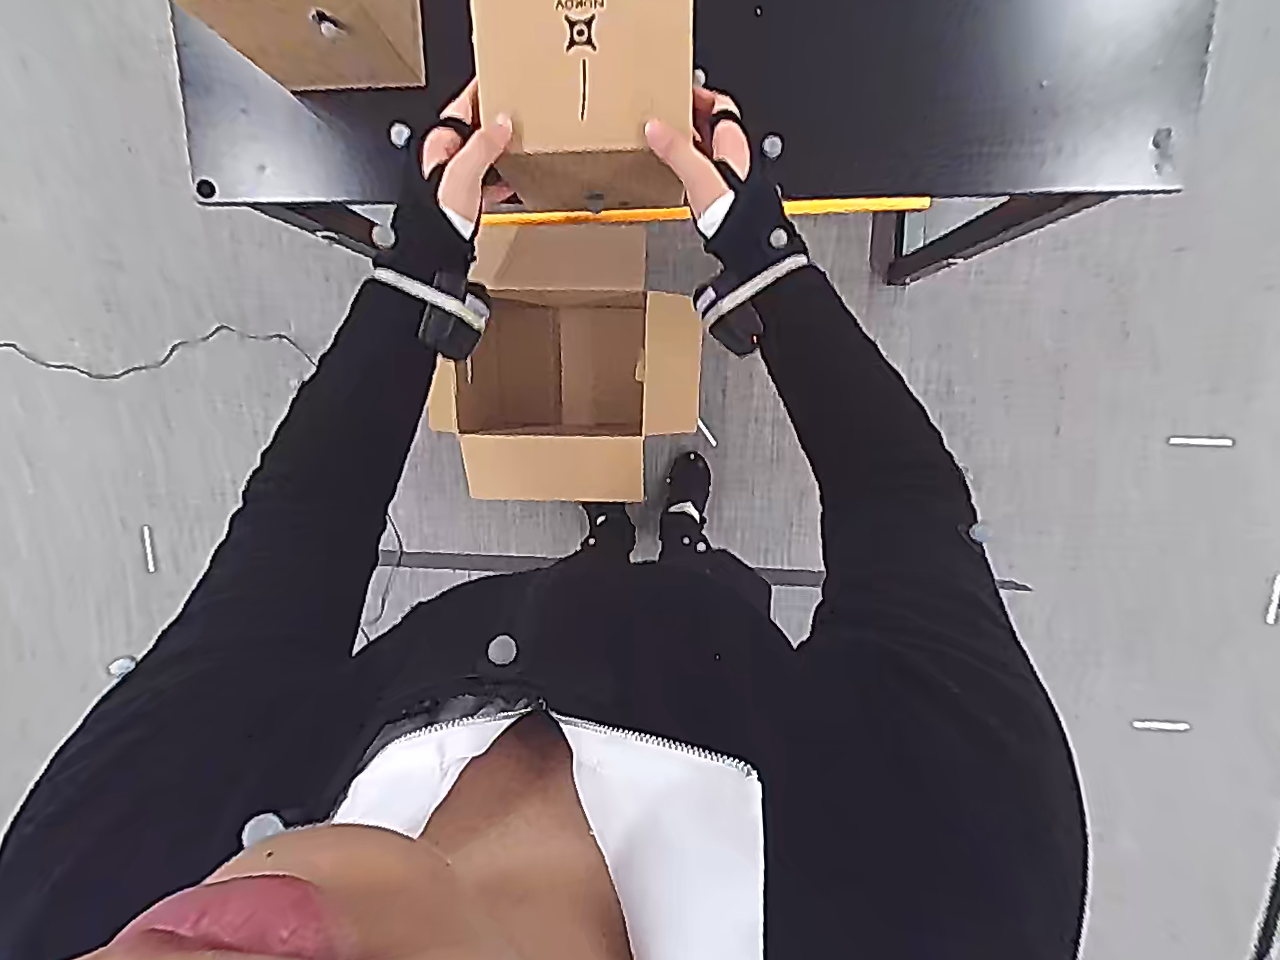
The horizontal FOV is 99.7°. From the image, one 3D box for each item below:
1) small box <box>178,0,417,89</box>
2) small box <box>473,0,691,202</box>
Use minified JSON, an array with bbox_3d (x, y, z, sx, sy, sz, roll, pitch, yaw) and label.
[{"bbox_3d":[-0.349,-0.542,0.565,0.179,0.176,0.168,0,99,2],"label":"small box"},{"bbox_3d":[-0.043,-0.370,0.486,0.168,0.176,0.179,-1,102,2],"label":"small box"}]
